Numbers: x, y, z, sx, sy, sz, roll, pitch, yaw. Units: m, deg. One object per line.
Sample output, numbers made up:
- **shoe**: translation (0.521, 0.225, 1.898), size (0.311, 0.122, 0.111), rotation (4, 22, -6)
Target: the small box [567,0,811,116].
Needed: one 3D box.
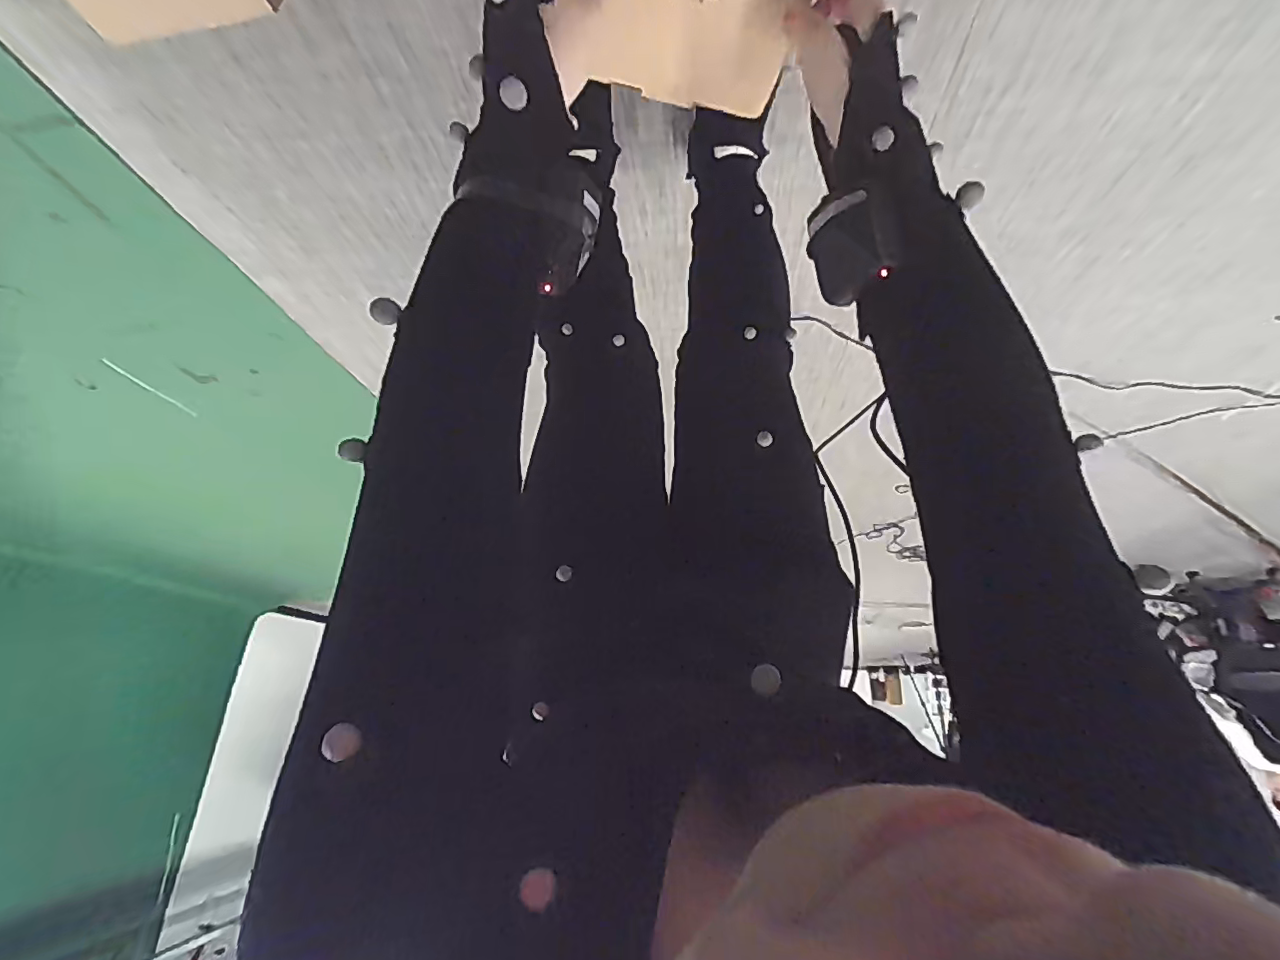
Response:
- **small box**: translation (0.041, -0.423, 0.397), size (0.168, 0.176, 0.179), rotation (4, 156, -15)

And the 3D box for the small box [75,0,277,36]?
- **small box**: translation (-0.382, -0.489, 0.402), size (0.168, 0.176, 0.179), rotation (-2, 156, 10)
